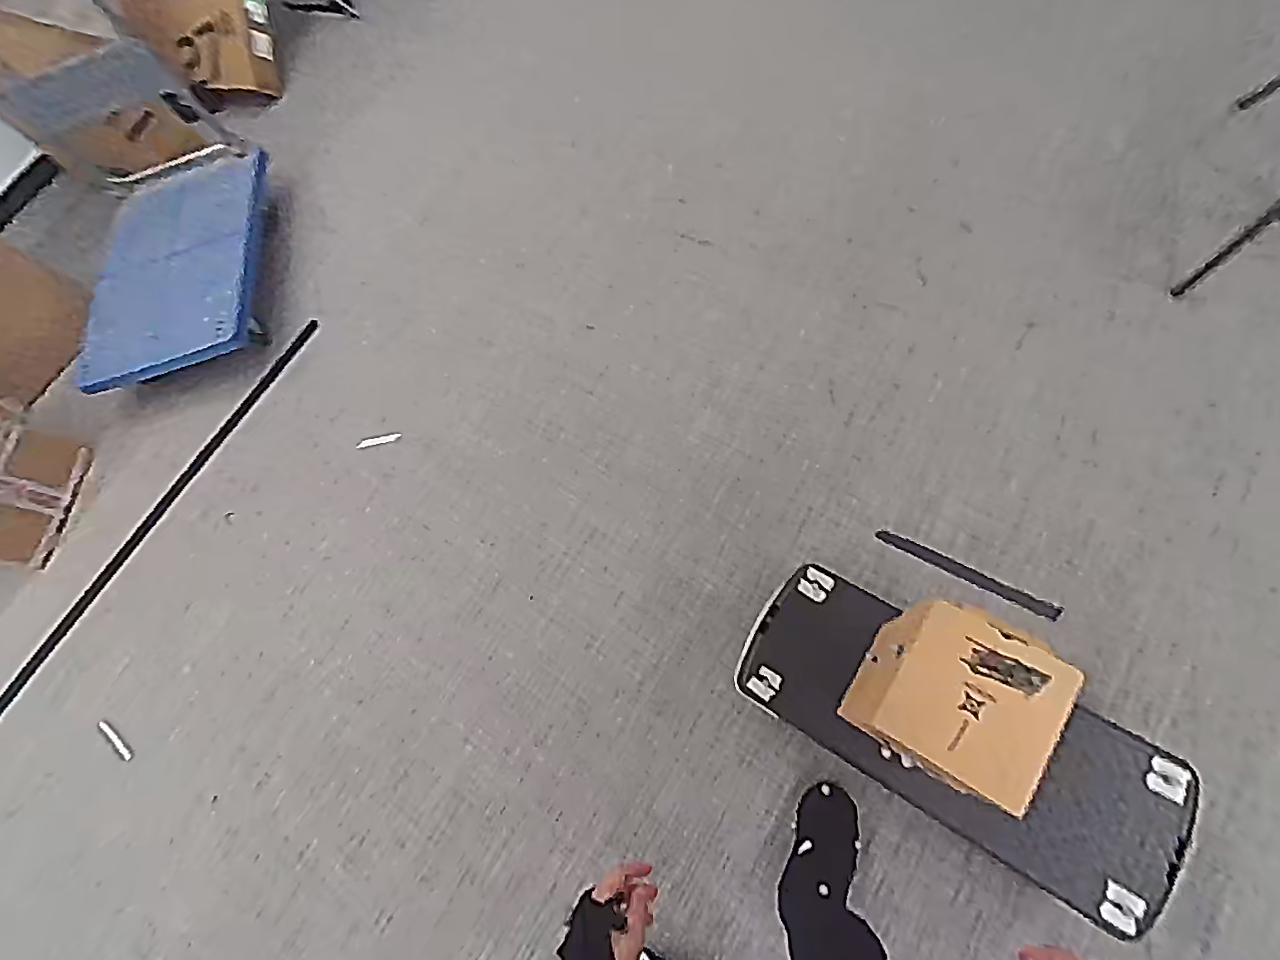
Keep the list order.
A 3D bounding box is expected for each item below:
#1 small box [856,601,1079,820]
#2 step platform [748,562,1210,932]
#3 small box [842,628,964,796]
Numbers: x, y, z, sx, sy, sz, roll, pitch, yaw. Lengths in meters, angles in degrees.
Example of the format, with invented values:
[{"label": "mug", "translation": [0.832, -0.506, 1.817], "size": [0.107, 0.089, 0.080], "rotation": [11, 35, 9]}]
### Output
[{"label": "small box", "translation": [0.397, 0.281, 0.689], "size": [0.168, 0.176, 0.179], "rotation": [29, 79, 21]}, {"label": "step platform", "translation": [0.545, 0.426, 0.970], "size": [0.684, 0.204, 0.286], "rotation": [28, 77, 22]}, {"label": "small box", "translation": [0.431, 0.343, 0.837], "size": [0.168, 0.176, 0.179], "rotation": [30, 79, 22]}]
